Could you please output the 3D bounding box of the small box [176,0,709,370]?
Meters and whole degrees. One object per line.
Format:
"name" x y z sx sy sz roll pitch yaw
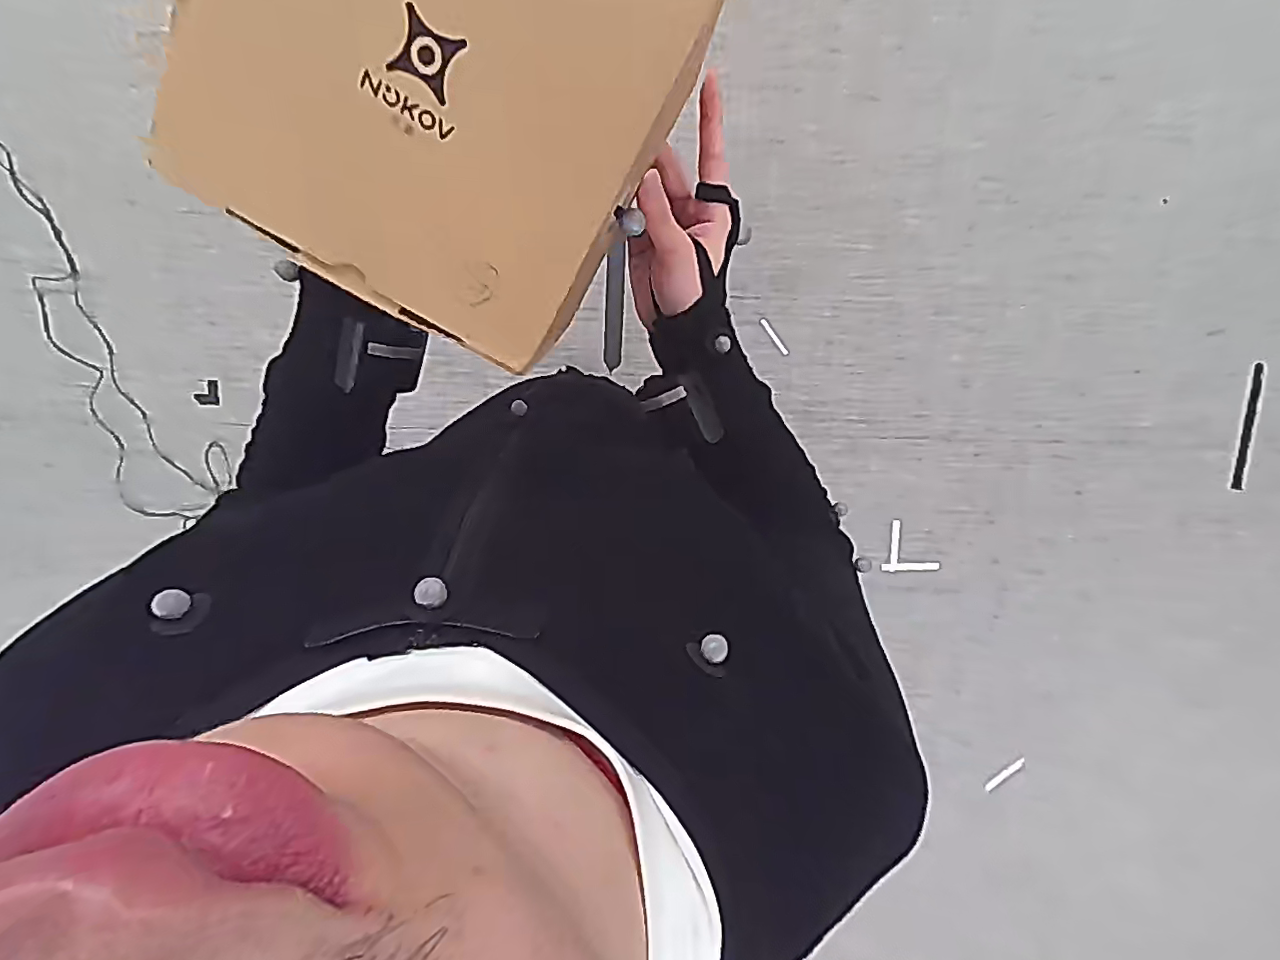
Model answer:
"small box" -0.083 -0.188 0.285 0.168 0.176 0.179 27 111 -12
